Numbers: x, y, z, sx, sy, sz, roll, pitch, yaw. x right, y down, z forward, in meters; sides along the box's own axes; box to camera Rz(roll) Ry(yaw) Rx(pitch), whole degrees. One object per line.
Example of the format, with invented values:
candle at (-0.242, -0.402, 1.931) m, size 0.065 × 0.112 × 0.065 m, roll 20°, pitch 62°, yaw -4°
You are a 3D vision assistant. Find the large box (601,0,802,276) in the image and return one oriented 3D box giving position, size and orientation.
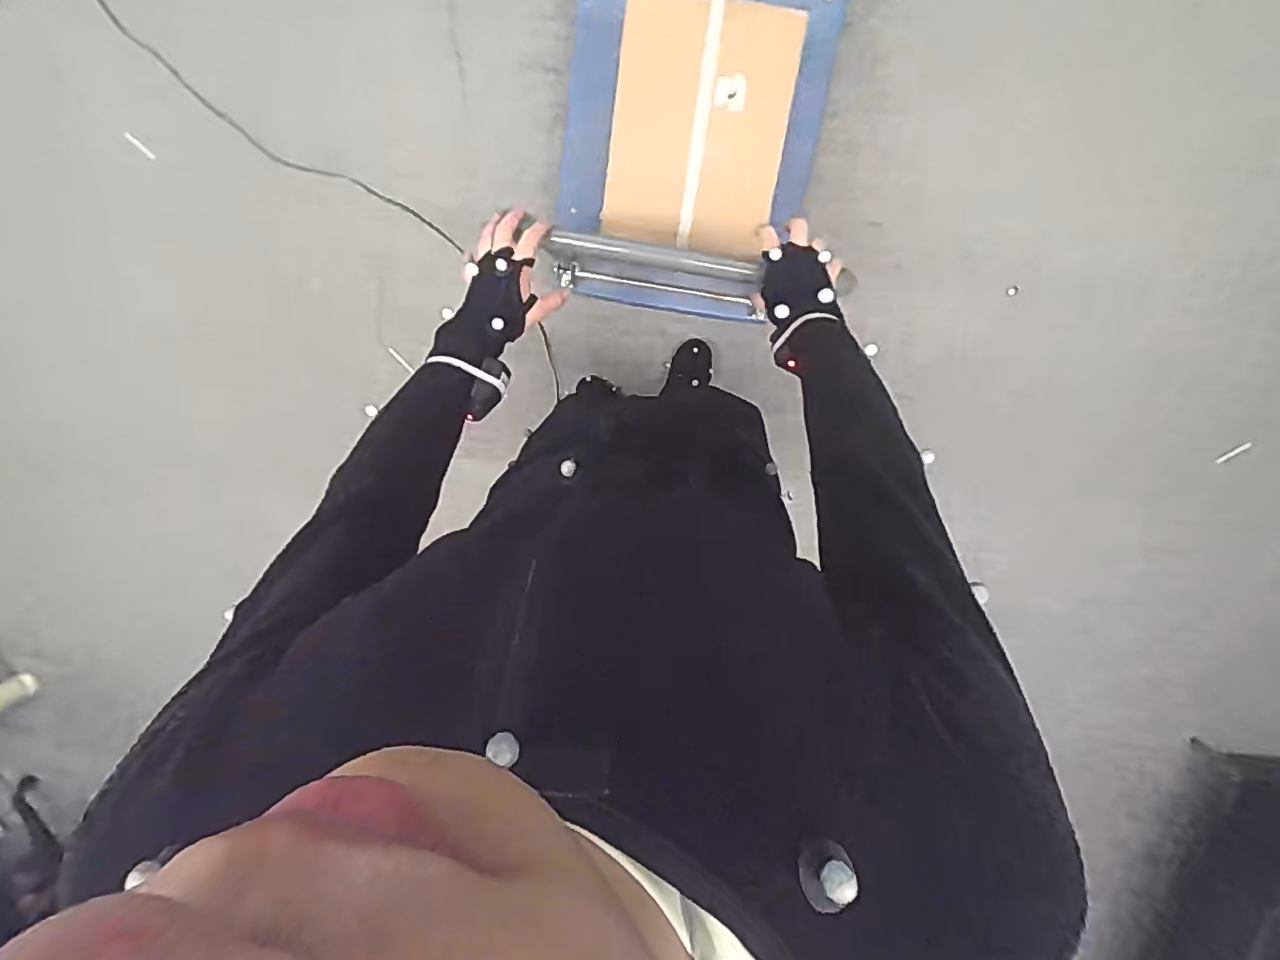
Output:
large box at (0.110, -0.665, 1.123) m, size 0.320 × 0.320 × 0.408 m, roll 9°, pitch 106°, yaw -1°
